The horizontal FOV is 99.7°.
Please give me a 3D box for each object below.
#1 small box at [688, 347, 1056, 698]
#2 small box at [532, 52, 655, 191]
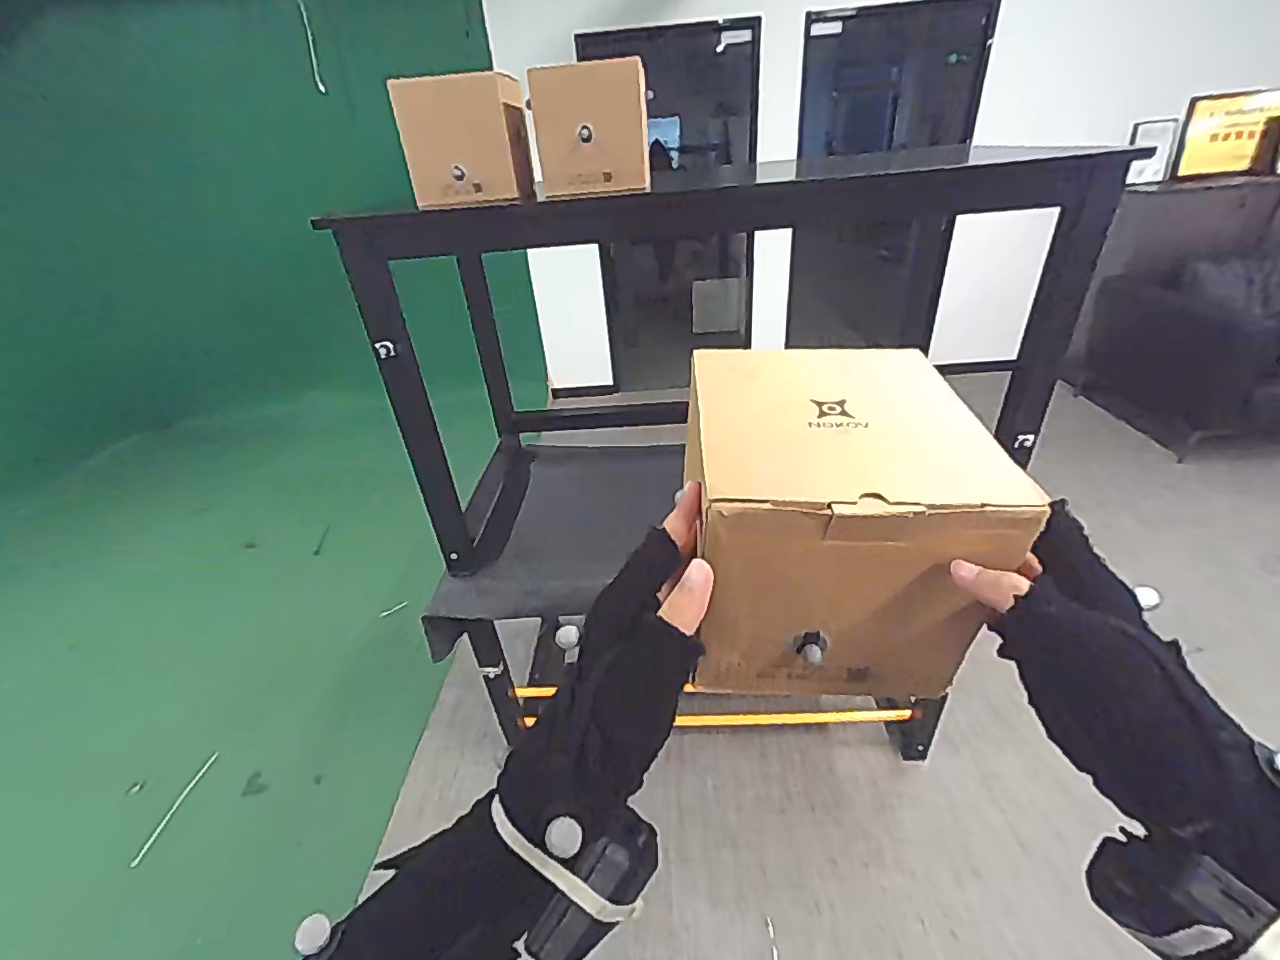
[{"bbox_3d":[0.122,0.023,0.376,0.168,0.176,0.179,1,39,2],"label":"small box"},{"bbox_3d":[-0.063,-0.569,0.875,0.168,0.176,0.179,-1,32,4],"label":"small box"}]
